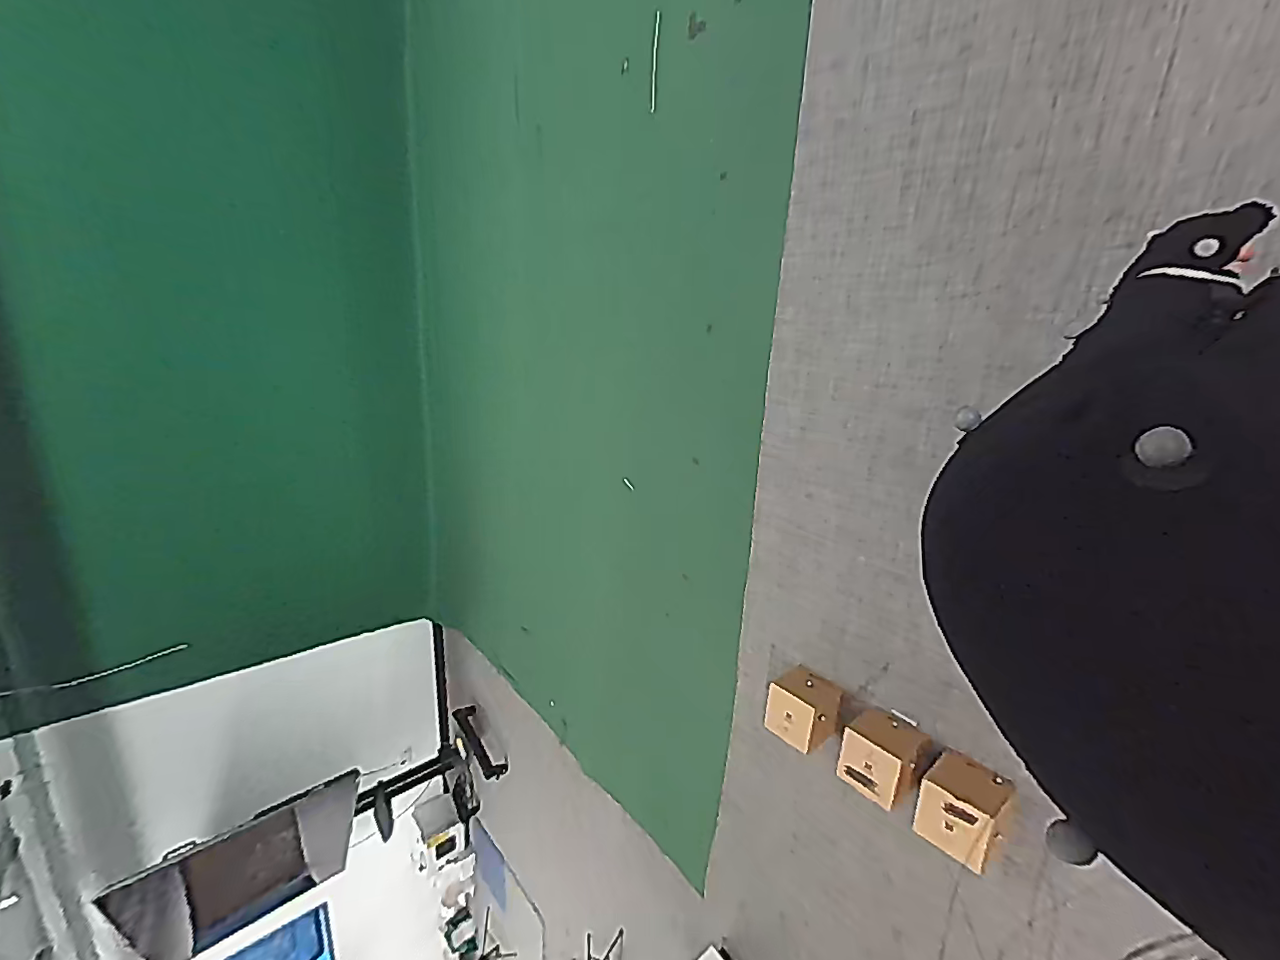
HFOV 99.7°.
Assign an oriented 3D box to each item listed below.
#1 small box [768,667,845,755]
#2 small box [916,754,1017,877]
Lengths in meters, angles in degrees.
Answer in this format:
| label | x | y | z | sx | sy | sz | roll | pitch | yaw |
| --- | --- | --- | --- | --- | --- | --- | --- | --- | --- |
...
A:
| label | x | y | z | sx | sy | sz | roll | pitch | yaw |
| --- | --- | --- | --- | --- | --- | --- | --- | --- | --- |
| small box | 0.541 | 0.740 | 1.754 | 0.168 | 0.176 | 0.179 | 20 | 113 | 47 |
| small box | 0.849 | 0.855 | 1.402 | 0.168 | 0.176 | 0.179 | 19 | 113 | 47 |
